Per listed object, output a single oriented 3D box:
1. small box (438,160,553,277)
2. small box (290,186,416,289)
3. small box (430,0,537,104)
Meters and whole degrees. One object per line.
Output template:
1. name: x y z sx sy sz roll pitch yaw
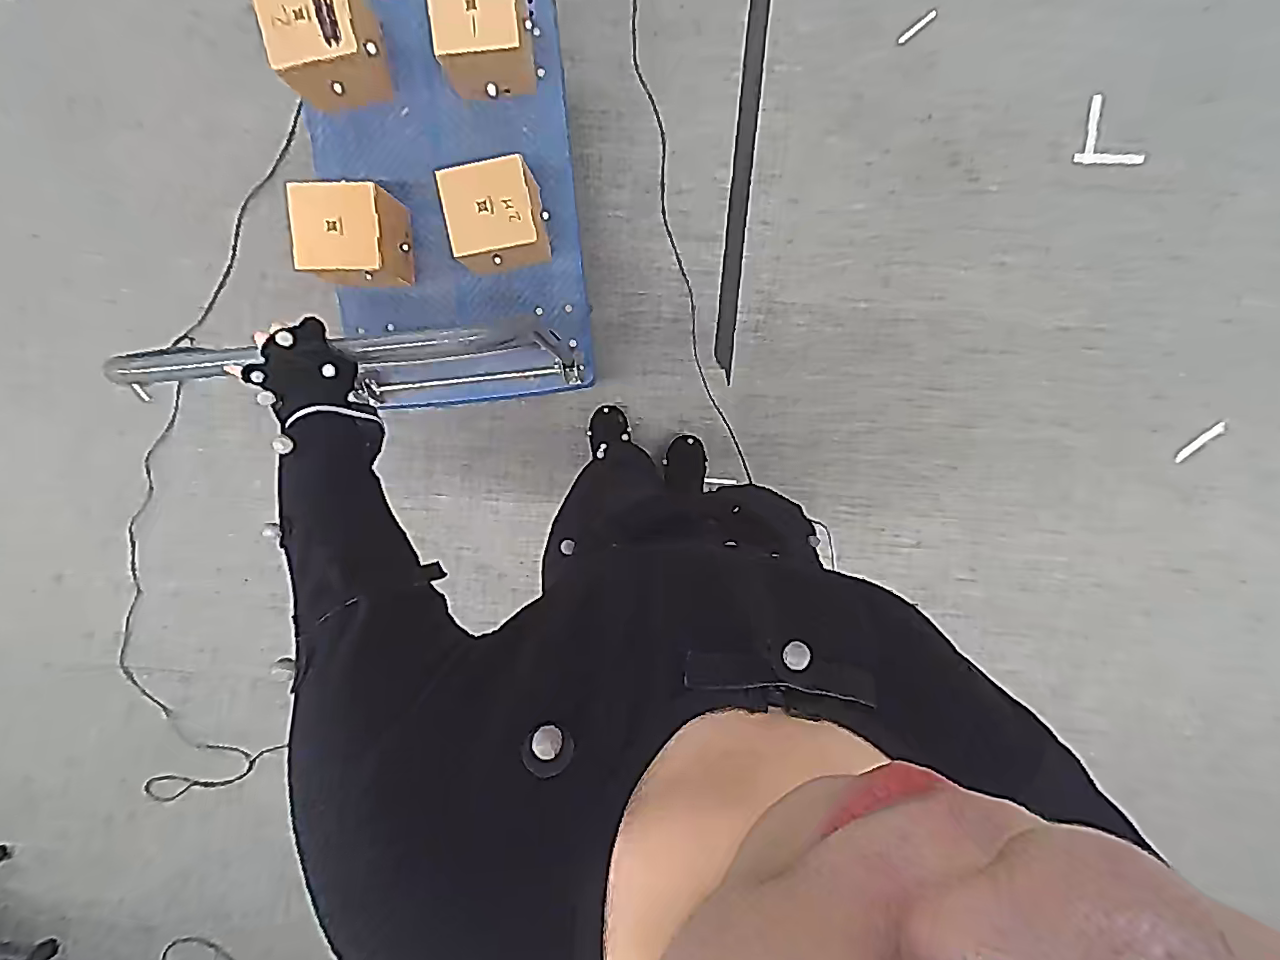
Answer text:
1. small box: -0.297 -0.543 1.145 0.179 0.176 0.168 -10 99 3
2. small box: -0.603 -0.509 1.156 0.179 0.176 0.168 -1 99 0
3. small box: -0.309 -0.900 1.088 0.168 0.176 0.179 -5 100 2
